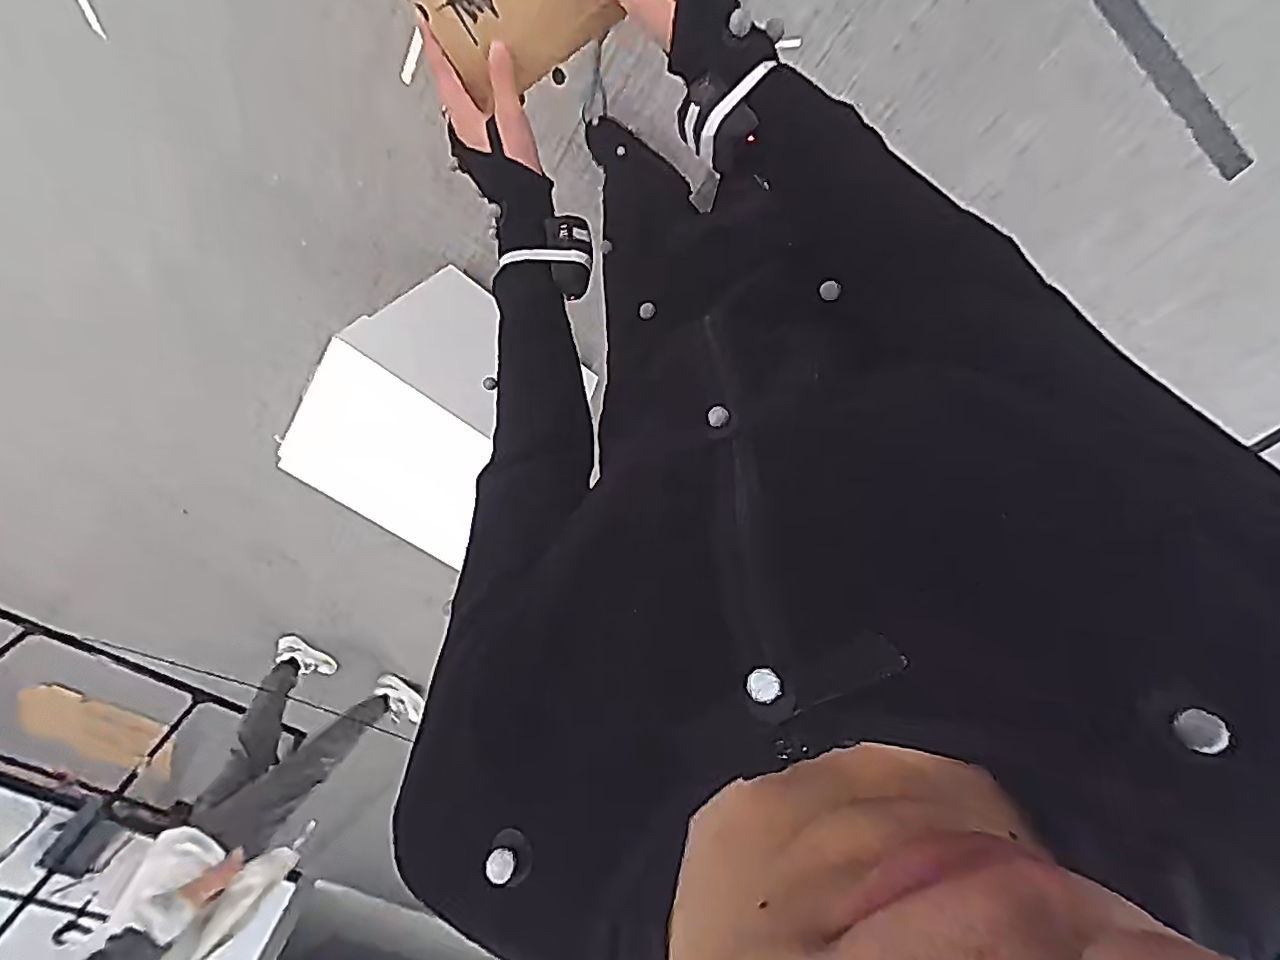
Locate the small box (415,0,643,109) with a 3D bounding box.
[{"bbox_3d":[-0.111,-0.465,0.475,0.179,0.176,0.168,-28,128,12],"label":"small box"}]
